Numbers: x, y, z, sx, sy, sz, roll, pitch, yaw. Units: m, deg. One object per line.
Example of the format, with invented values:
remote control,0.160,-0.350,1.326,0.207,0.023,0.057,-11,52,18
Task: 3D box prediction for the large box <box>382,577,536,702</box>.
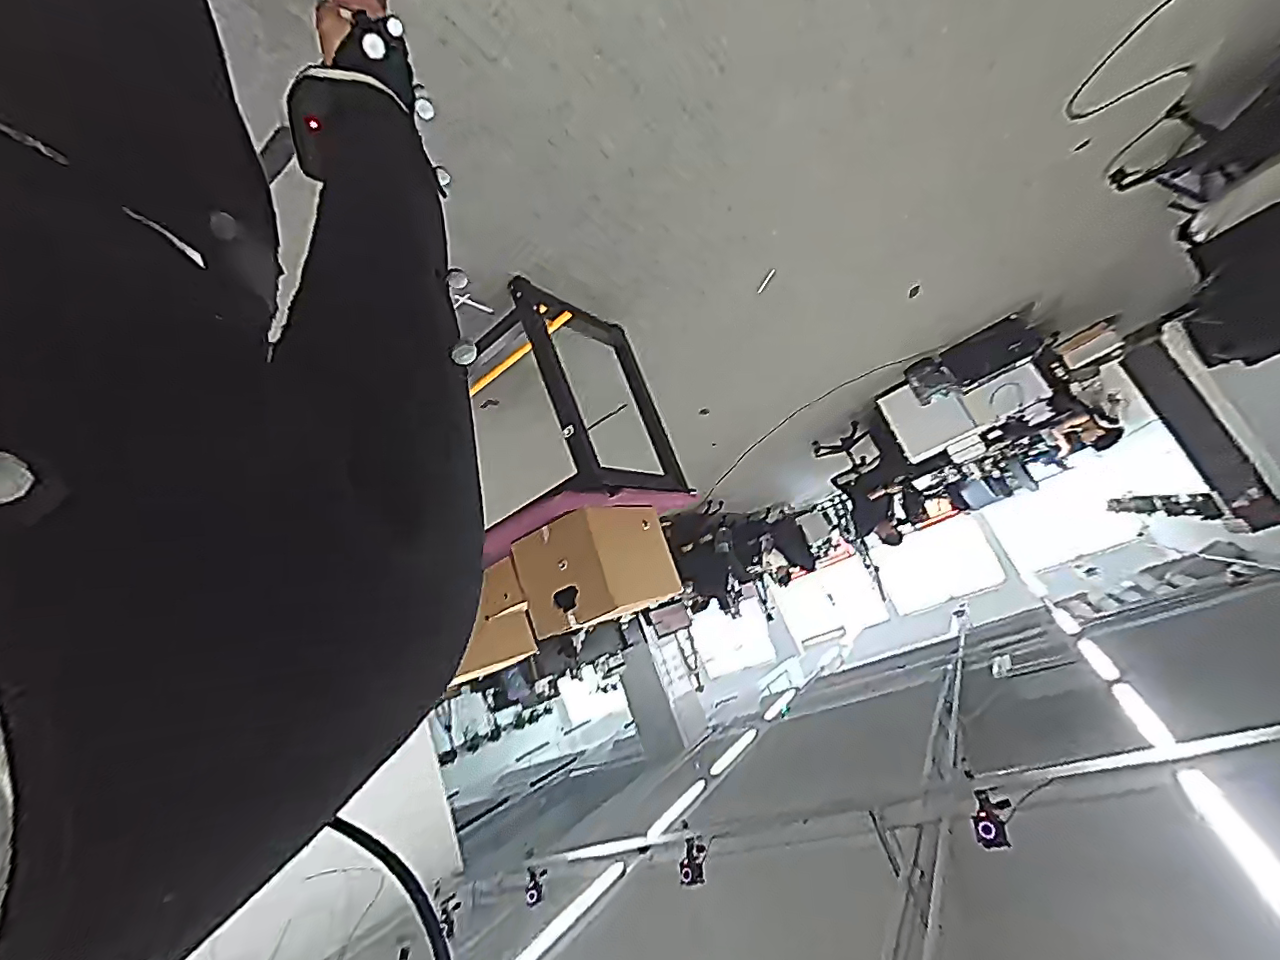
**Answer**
large box,-0.680,0.585,2.043,0.320,0.320,0.408,-29,164,27
